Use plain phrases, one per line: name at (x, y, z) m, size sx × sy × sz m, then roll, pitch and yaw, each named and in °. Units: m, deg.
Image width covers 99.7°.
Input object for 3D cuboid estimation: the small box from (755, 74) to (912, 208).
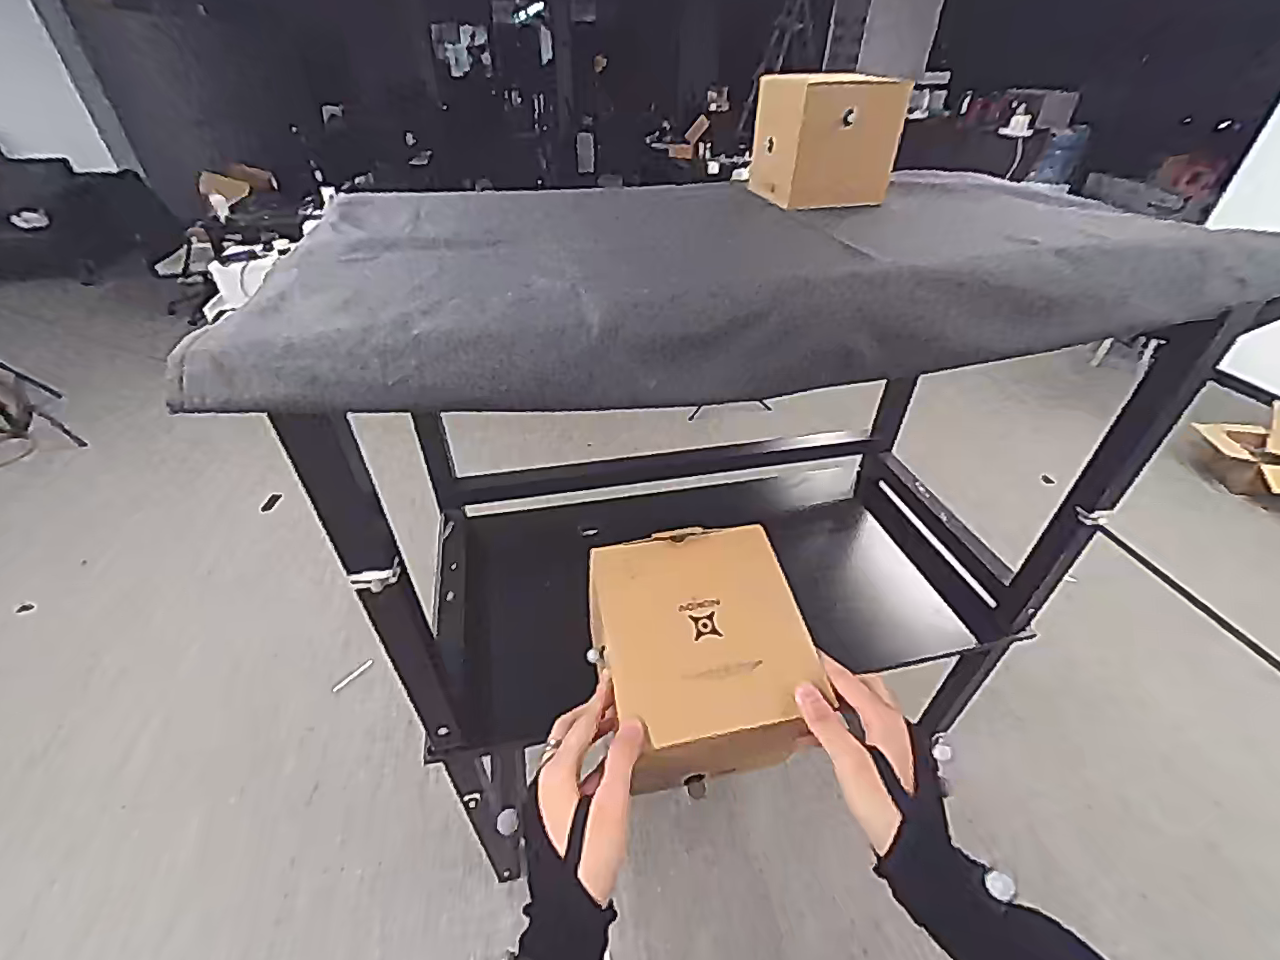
small box at (0.298, -0.553, 0.882) m, size 0.179 × 0.176 × 0.168 m, roll -8°, pitch 40°, yaw -10°
